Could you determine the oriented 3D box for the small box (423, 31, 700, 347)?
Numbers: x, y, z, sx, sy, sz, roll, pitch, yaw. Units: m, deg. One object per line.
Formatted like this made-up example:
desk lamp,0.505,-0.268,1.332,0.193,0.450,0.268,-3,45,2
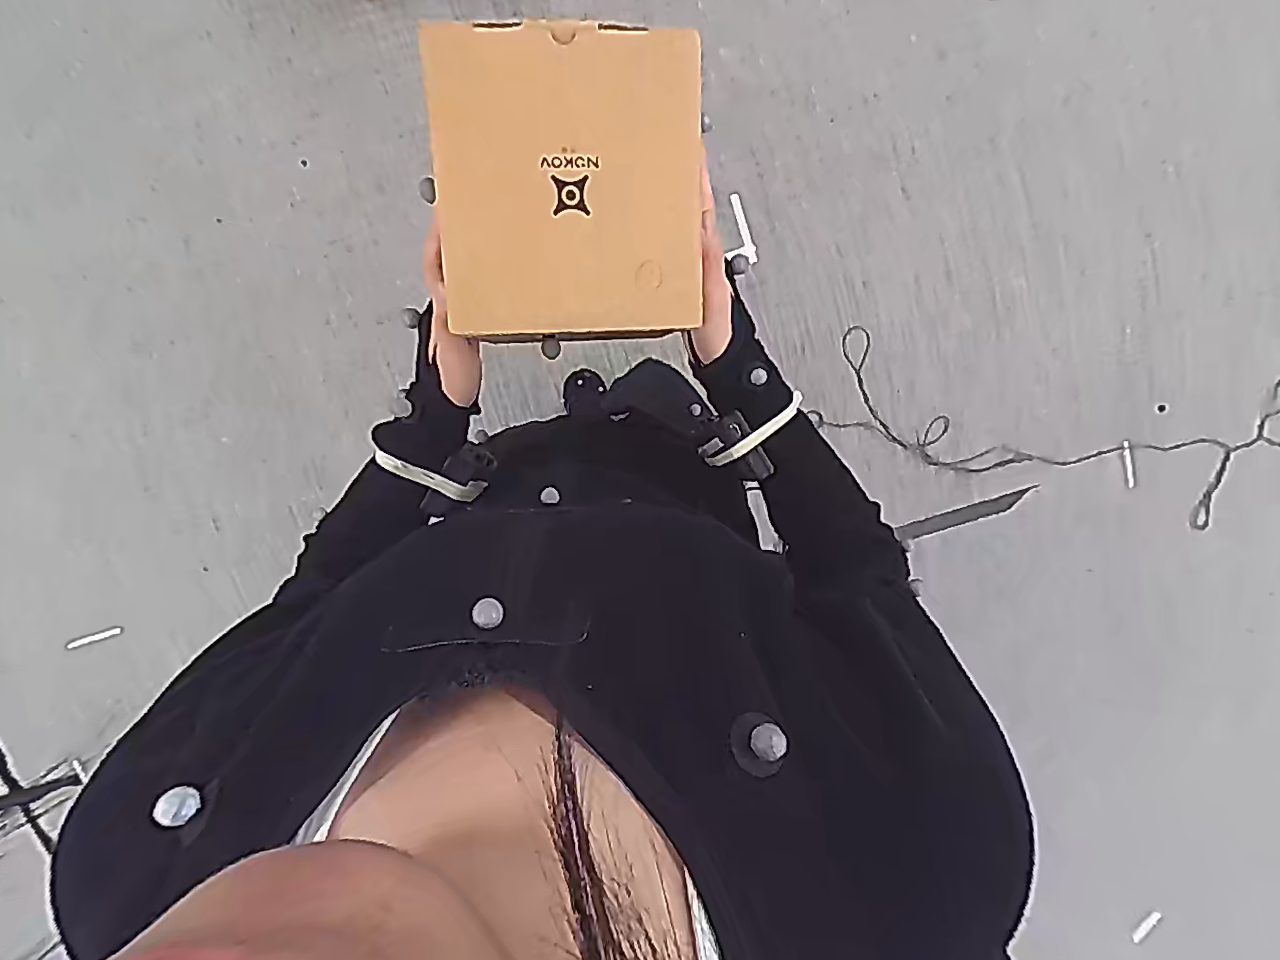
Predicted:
small box,-0.050,-0.194,0.414,0.168,0.176,0.179,-3,101,-6
